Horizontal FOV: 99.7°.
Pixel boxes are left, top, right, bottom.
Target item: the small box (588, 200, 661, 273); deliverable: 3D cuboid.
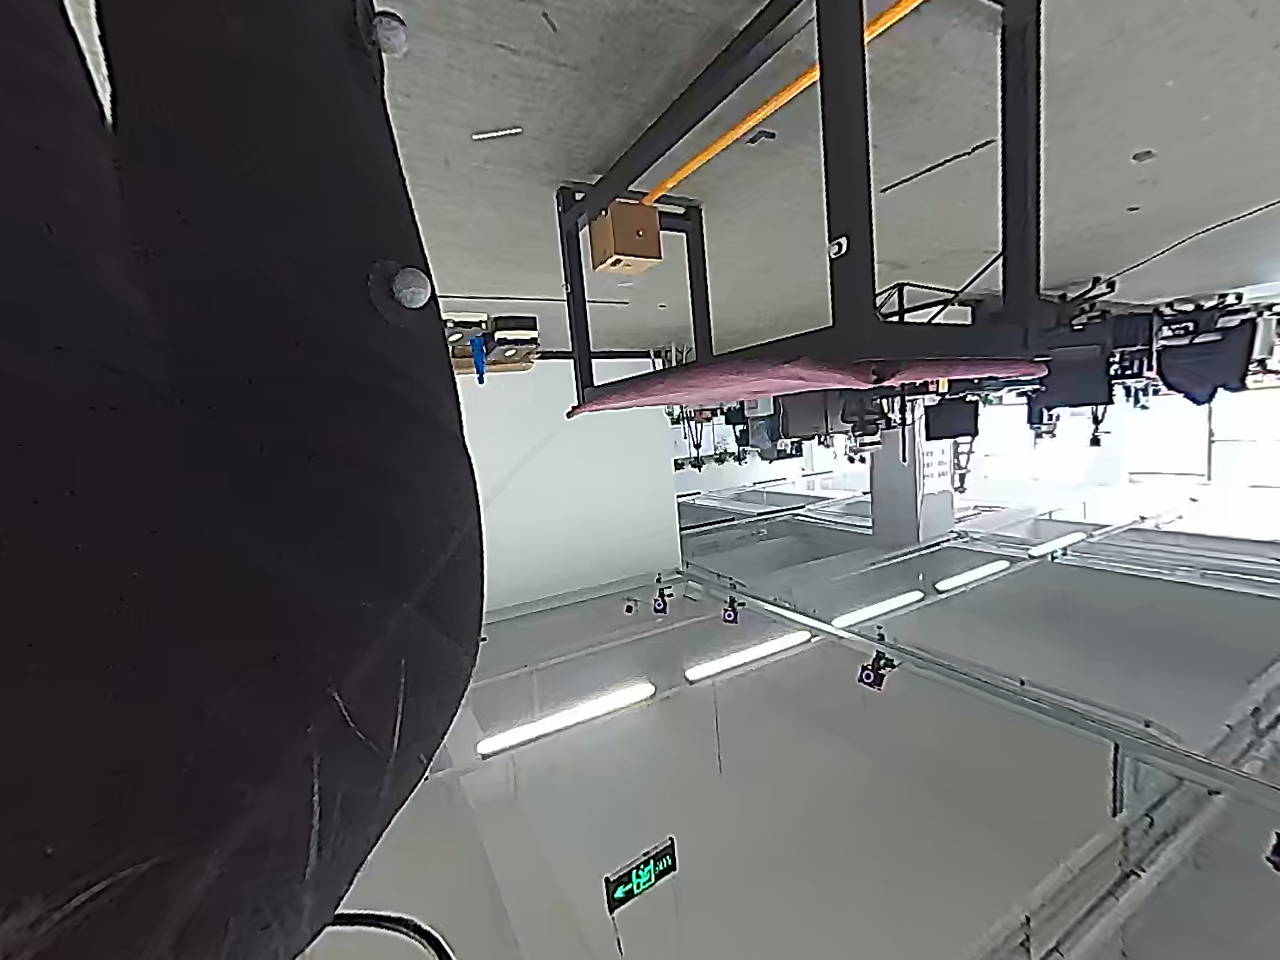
[{"bbox_3d":[-0.055,-0.787,1.751,0.179,0.176,0.168,-9,-174,-30],"label":"small box"}]
